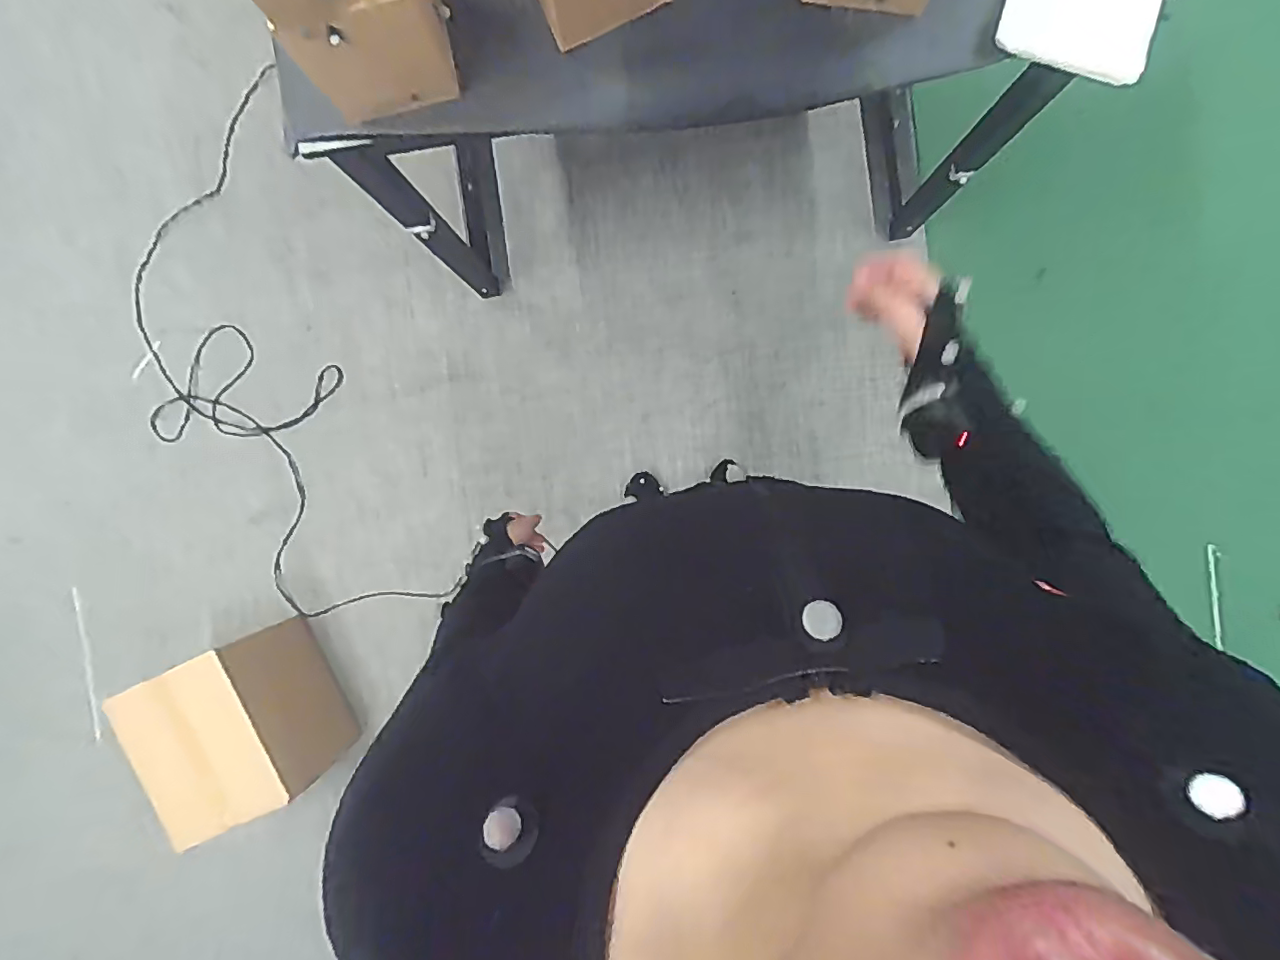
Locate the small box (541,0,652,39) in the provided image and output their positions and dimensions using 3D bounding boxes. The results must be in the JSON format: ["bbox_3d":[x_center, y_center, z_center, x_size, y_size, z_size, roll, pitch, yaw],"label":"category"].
[{"bbox_3d":[-0.071,-0.714,0.675,0.179,0.176,0.168,-23,91,3],"label":"small box"}]

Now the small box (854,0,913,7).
[{"bbox_3d":[0.300,-0.735,0.652,0.168,0.176,0.179,9,92,3],"label":"small box"}]

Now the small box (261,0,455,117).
[{"bbox_3d":[-0.357,-0.615,0.690,0.168,0.176,0.179,-12,91,3],"label":"small box"}]
